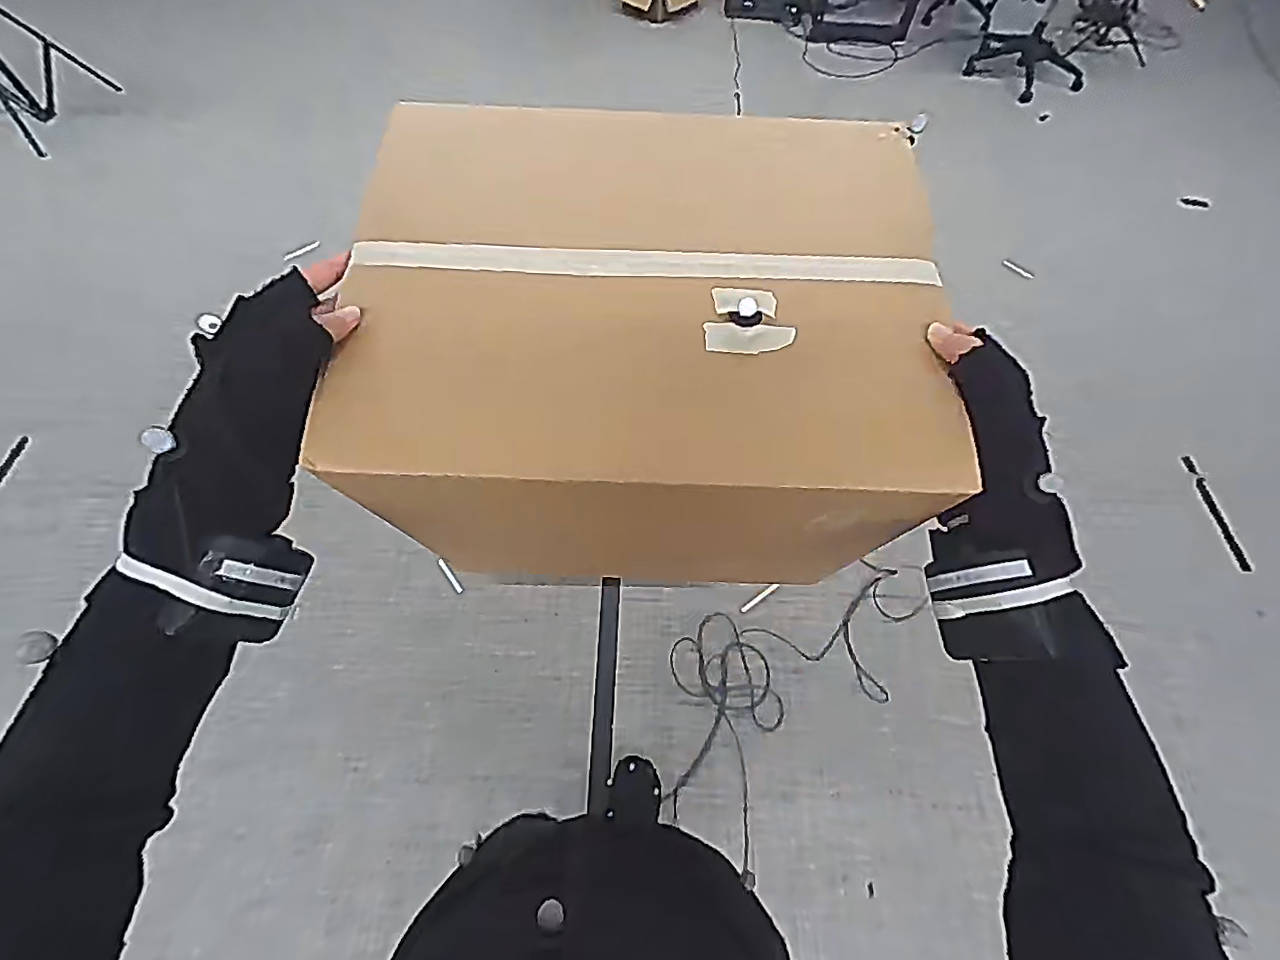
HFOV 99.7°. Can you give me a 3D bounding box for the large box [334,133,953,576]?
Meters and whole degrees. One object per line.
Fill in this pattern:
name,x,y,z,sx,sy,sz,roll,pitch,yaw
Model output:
large box,0.002,-0.089,0.534,0.408,0.320,0.320,2,69,-1
